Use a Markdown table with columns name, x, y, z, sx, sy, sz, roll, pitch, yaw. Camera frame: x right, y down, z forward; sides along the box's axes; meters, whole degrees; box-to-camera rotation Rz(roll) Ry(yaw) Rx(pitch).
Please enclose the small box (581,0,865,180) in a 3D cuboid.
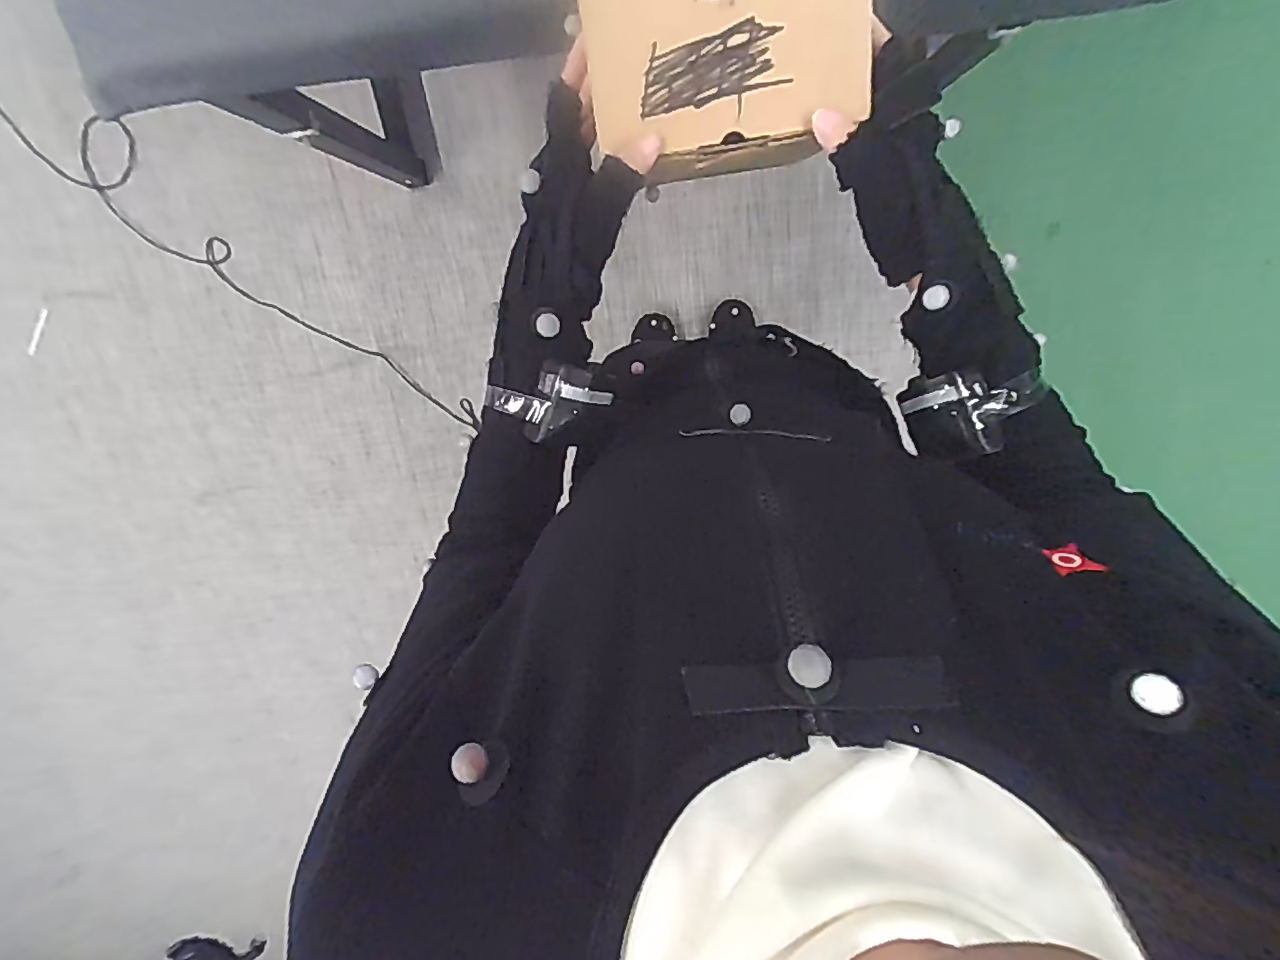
| name | x | y | z | sx | sy | sz | roll | pitch | yaw |
| --- | --- | --- | --- | --- | --- | --- | --- | --- | --- |
| small box | 0.048 | -0.321 | 0.380 | 0.168 | 0.176 | 0.179 | -6 | 113 | 3 |
